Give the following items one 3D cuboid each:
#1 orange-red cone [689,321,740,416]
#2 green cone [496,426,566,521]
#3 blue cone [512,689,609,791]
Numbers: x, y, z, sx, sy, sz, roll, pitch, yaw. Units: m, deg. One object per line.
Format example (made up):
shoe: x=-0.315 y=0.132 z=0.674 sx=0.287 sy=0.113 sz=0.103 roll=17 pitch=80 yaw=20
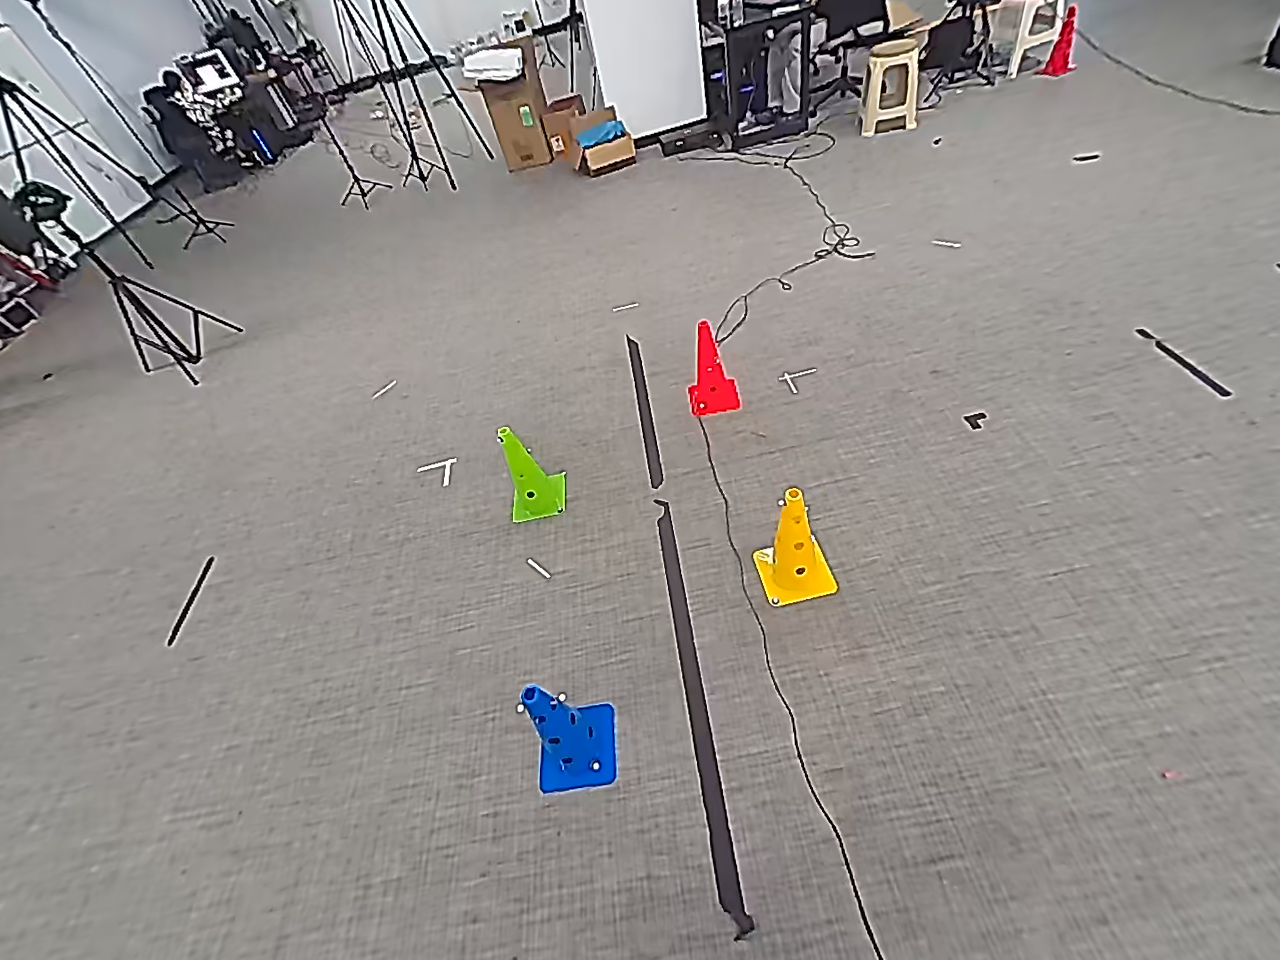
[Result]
orange-red cone: x=0.272 y=-0.452 z=2.096 sx=0.199 sy=0.360 sz=0.198 roll=-8 pitch=48 yaw=7
green cone: x=-0.414 y=-0.053 z=1.917 sx=0.202 sy=0.368 sz=0.200 roll=-13 pitch=46 yaw=5
blue cone: x=-0.207 y=0.584 z=1.287 sx=0.192 sy=0.380 sz=0.193 roll=-10 pitch=46 yaw=8
